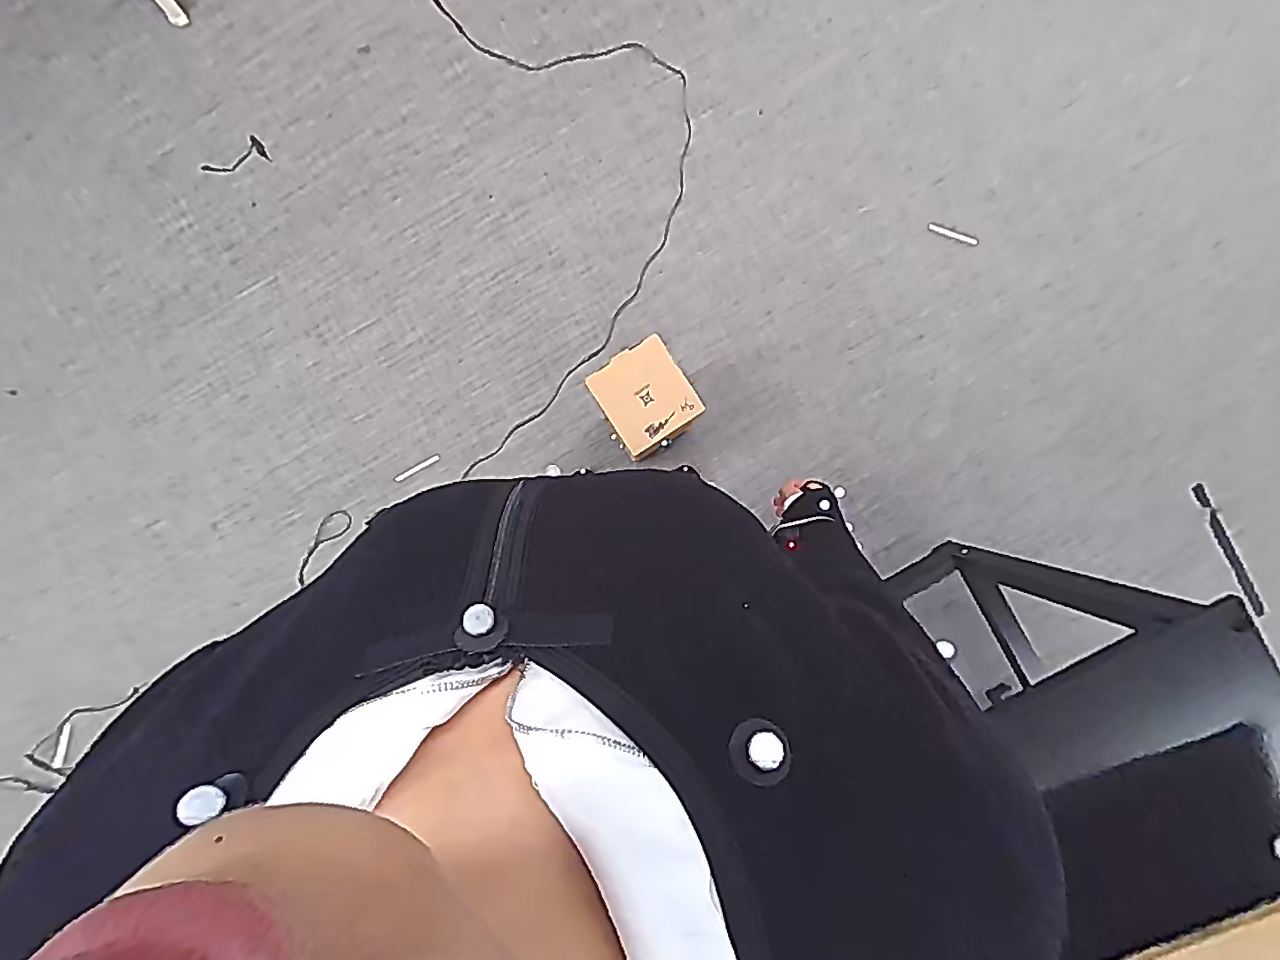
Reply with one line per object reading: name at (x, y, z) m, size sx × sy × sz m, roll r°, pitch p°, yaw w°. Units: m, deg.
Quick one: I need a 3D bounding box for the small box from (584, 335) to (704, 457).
small box at (0.008, -0.159, 1.093) m, size 0.168 × 0.176 × 0.179 m, roll -33°, pitch 90°, yaw 1°

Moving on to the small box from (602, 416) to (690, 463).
small box at (0.011, -0.157, 1.419) m, size 0.179 × 0.176 × 0.168 m, roll -33°, pitch 90°, yaw 2°
